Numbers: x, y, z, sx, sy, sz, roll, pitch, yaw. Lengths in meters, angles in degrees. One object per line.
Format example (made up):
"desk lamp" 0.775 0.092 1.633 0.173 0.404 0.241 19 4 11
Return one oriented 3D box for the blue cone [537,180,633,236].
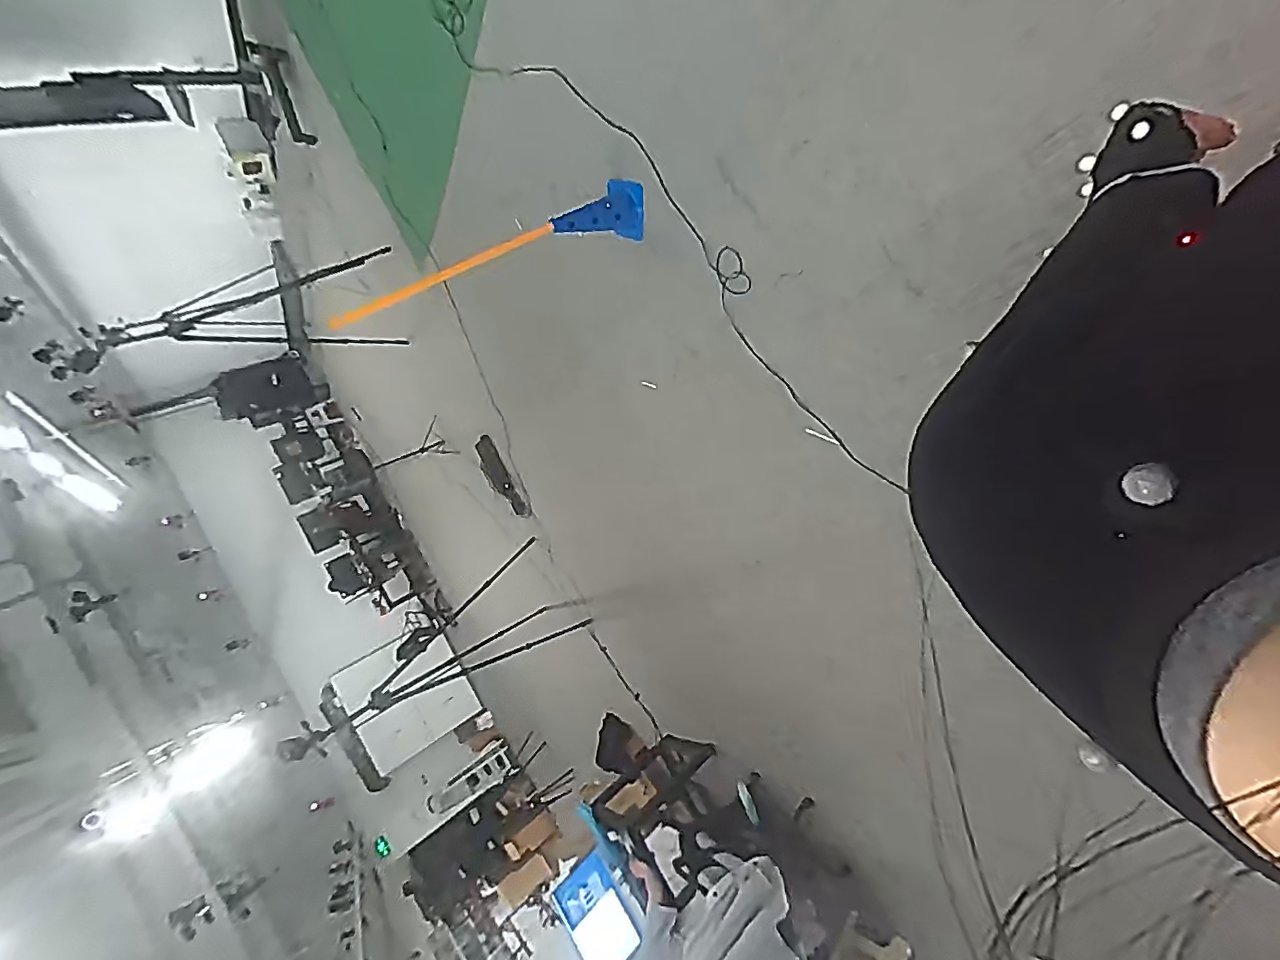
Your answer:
"blue cone" -0.209 -0.975 1.993 0.192 0.380 0.193 31 139 36
